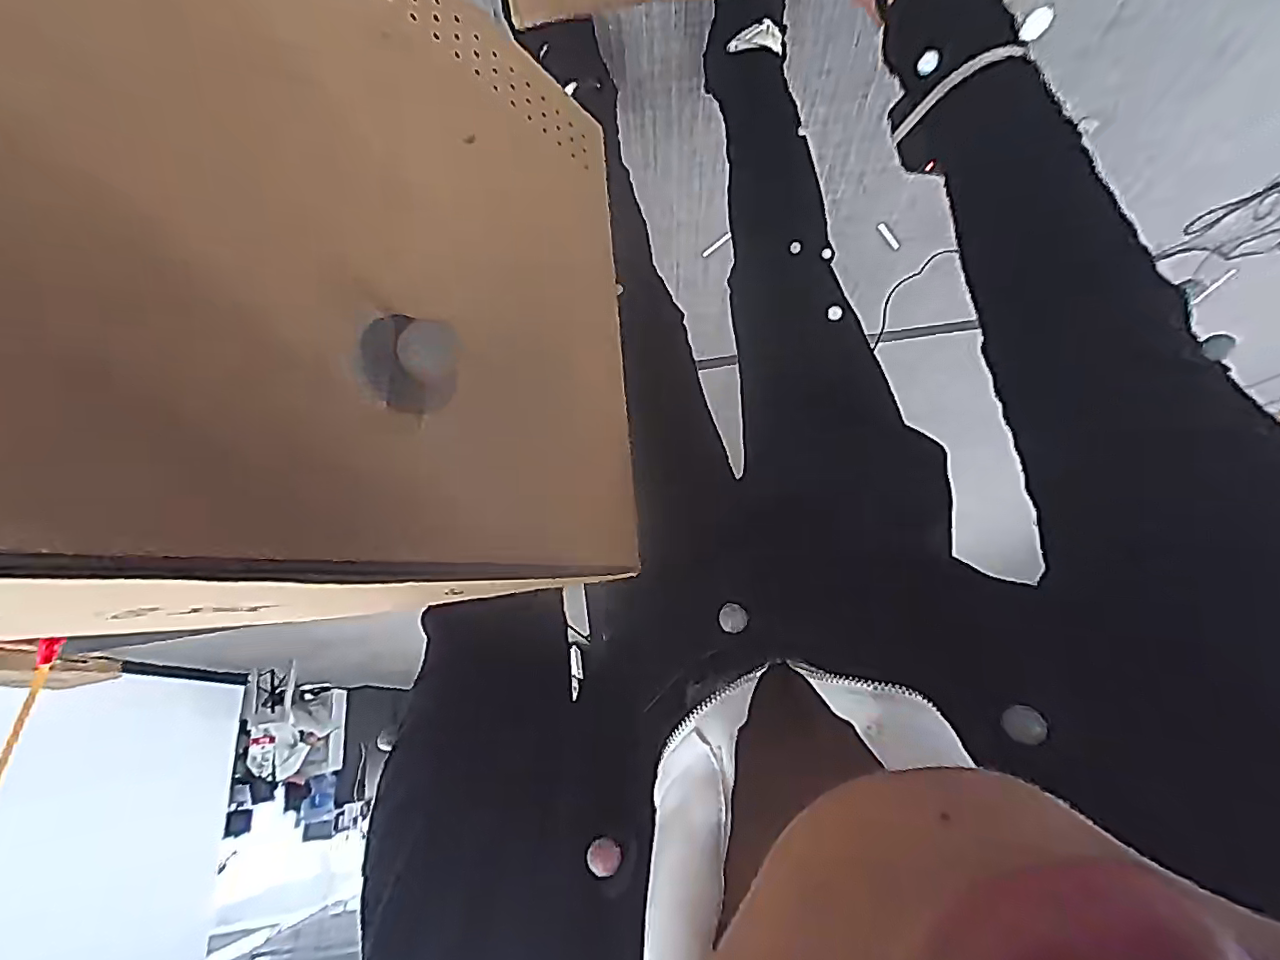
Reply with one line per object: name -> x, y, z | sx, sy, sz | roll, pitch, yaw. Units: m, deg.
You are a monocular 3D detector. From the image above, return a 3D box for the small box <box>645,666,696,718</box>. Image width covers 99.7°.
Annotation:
small box -> 0.119, 0.854, 2.180 | 0.179, 0.176, 0.168 | -8, 155, -2

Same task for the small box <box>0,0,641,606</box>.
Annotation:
small box -> -0.119, -0.055, 0.170 | 0.168, 0.176, 0.179 | -16, 162, 35
